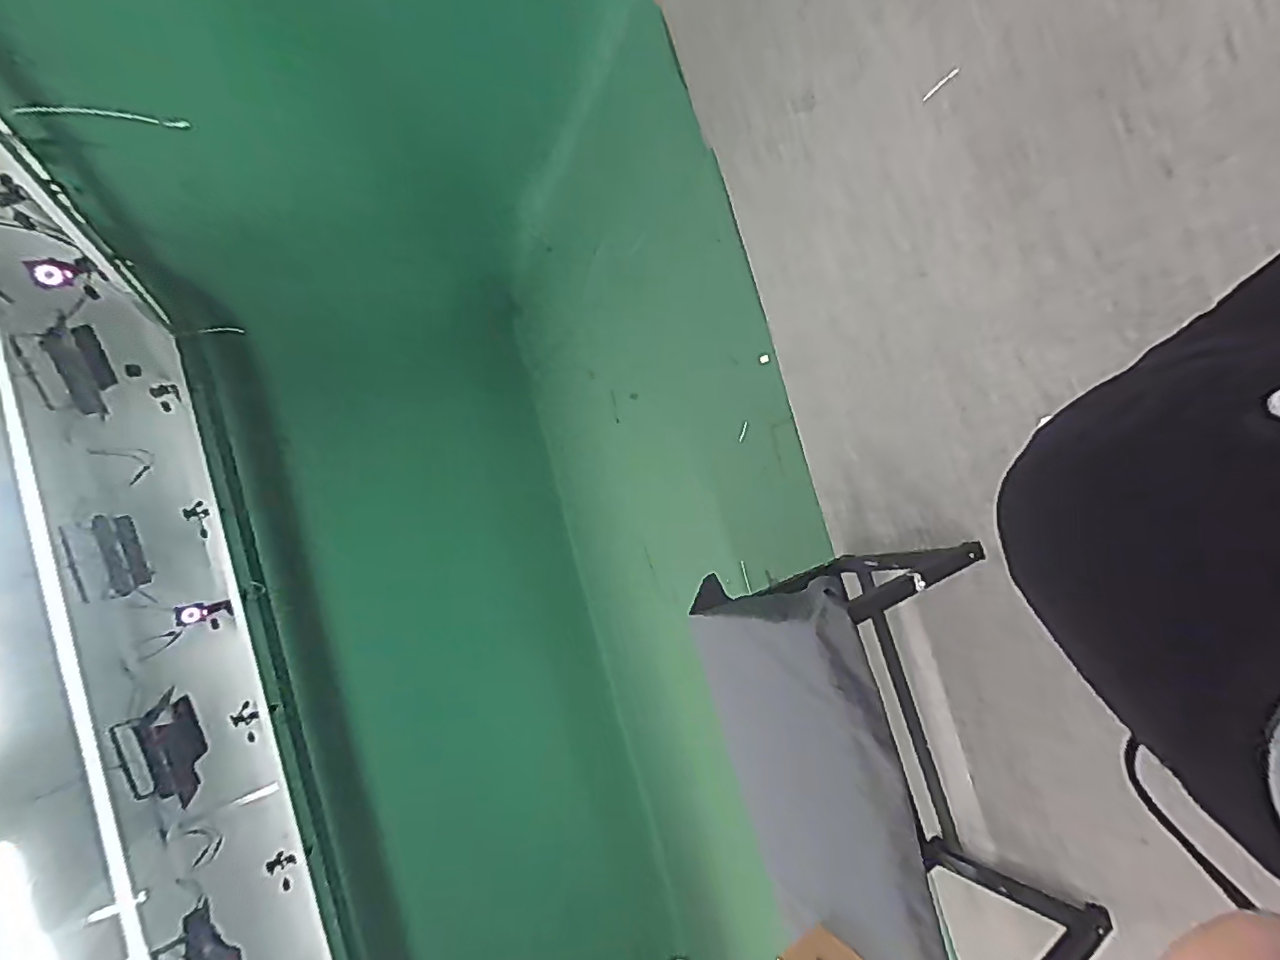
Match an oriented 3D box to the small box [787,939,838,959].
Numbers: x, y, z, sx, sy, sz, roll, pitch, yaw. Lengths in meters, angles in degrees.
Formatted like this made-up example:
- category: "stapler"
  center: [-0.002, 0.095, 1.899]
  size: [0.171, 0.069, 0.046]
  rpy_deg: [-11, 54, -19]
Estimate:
- category: "small box"
  center: [0.485, 1.406, 1.460]
  size: [0.179, 0.176, 0.168]
  rpy_deg: [-19, 84, 62]
